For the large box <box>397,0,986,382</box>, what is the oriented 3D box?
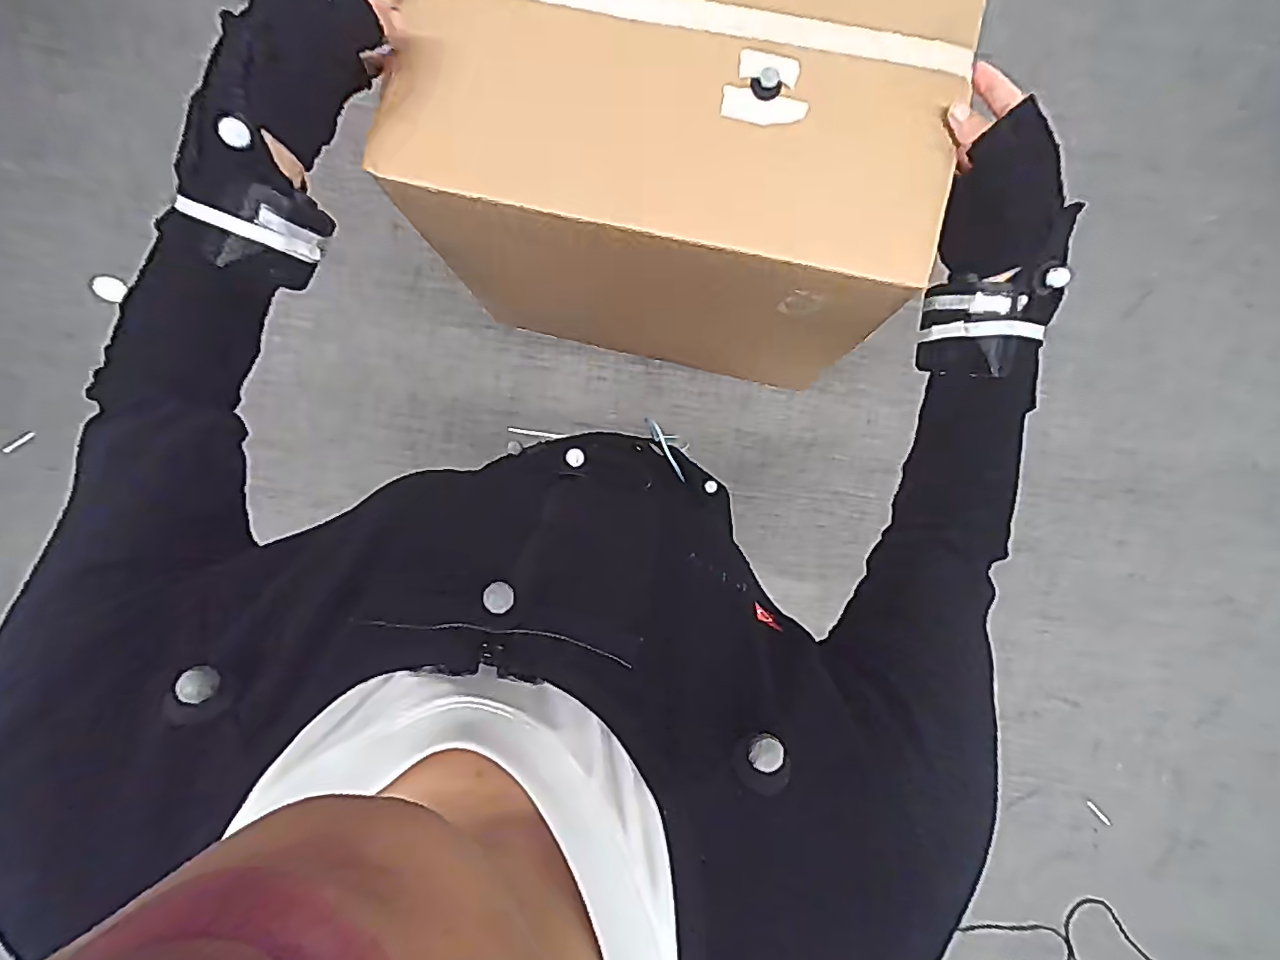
[{"bbox_3d":[0.048,-0.321,0.548,0.408,0.320,0.320,13,87,3],"label":"large box"}]
